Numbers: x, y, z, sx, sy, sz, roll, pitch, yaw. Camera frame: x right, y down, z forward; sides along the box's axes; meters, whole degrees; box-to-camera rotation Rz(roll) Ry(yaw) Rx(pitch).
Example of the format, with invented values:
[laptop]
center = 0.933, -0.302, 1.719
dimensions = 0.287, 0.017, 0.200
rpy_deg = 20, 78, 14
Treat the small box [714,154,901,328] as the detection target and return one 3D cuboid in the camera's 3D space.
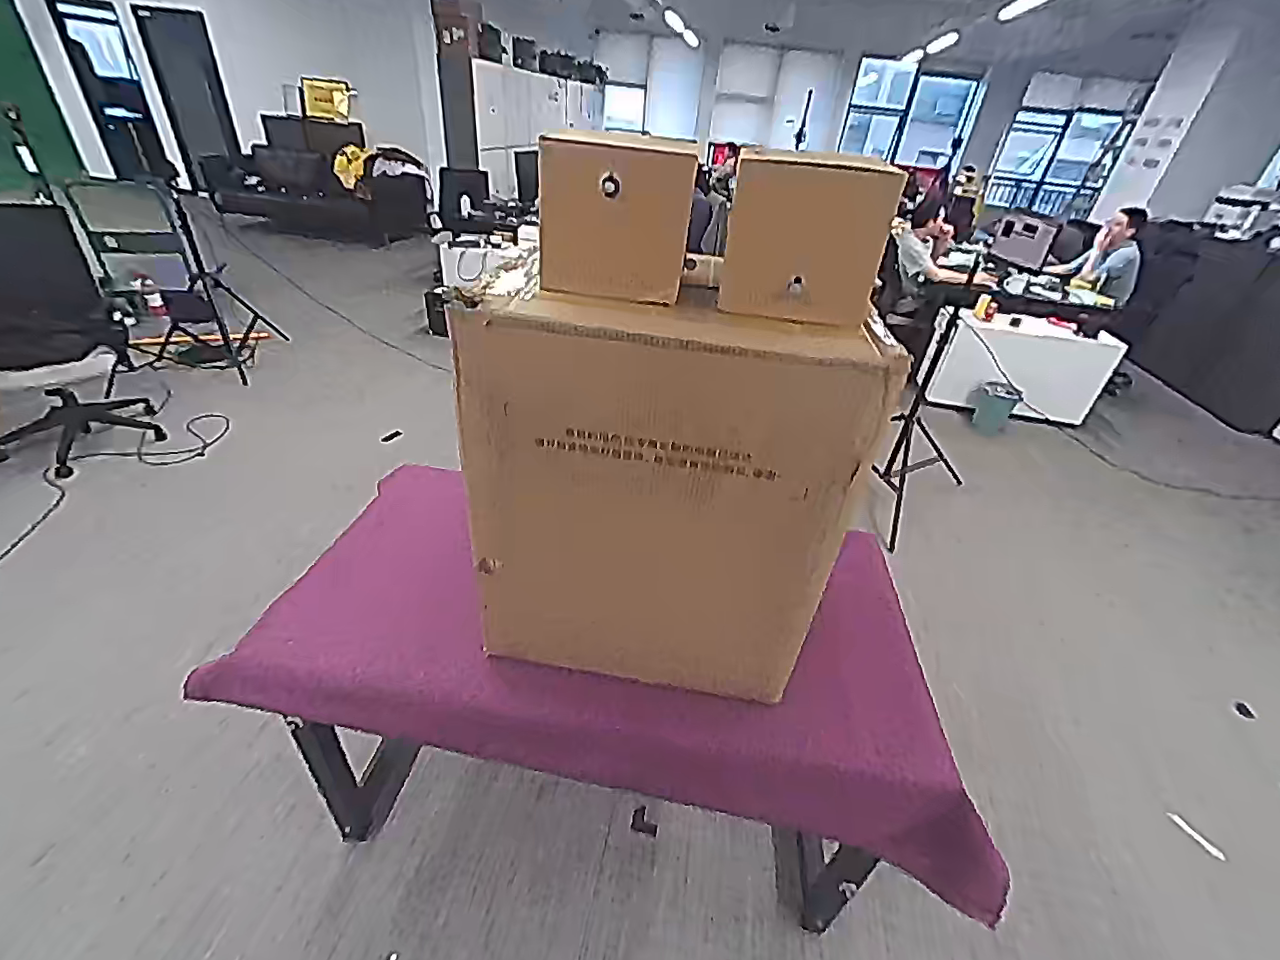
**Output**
[small box]
center = 0.198, -0.303, 0.686
dimensions = 0.179, 0.176, 0.168
rpy_deg = 9, 34, 5
